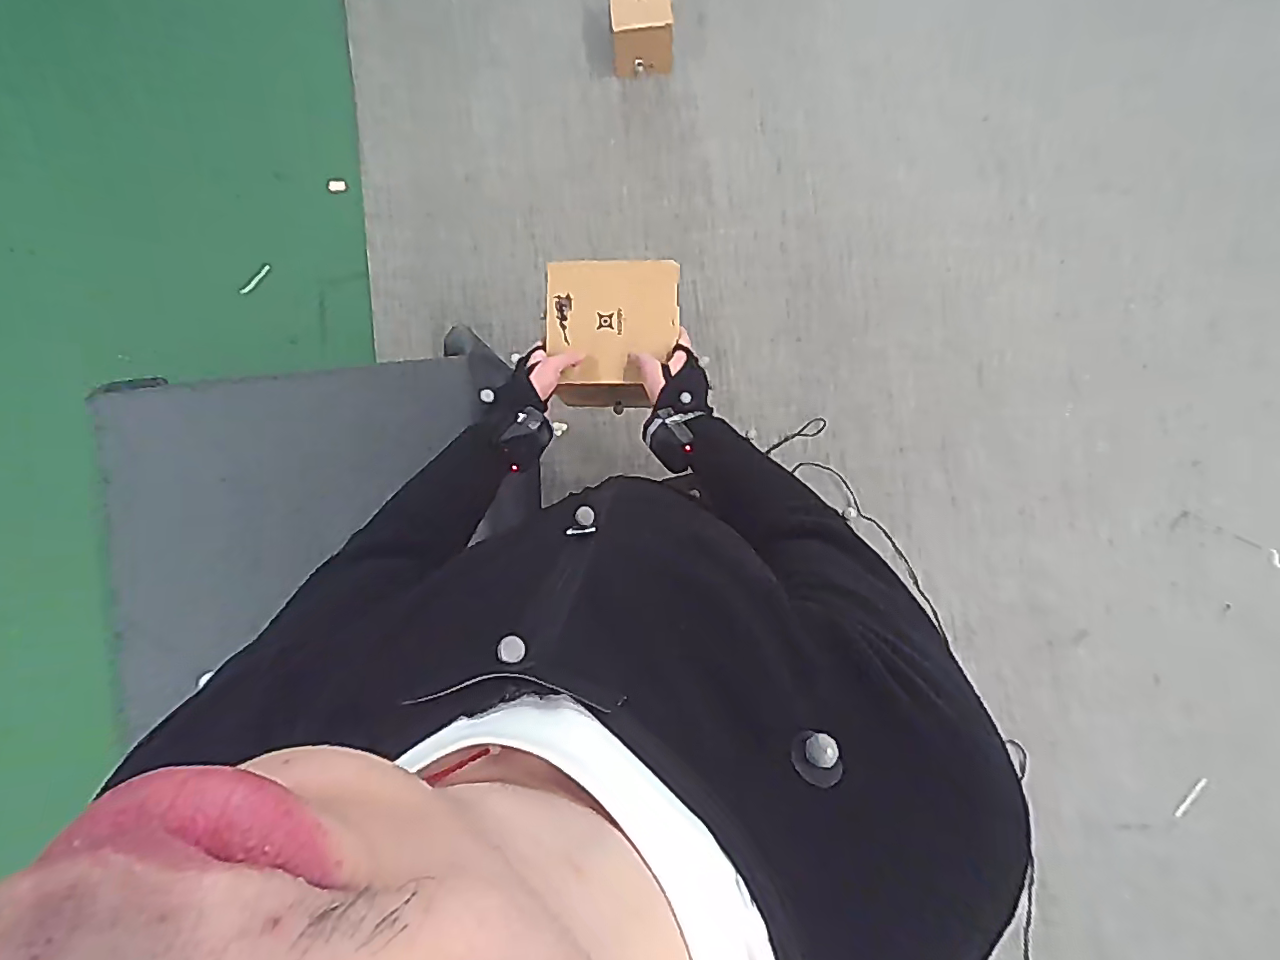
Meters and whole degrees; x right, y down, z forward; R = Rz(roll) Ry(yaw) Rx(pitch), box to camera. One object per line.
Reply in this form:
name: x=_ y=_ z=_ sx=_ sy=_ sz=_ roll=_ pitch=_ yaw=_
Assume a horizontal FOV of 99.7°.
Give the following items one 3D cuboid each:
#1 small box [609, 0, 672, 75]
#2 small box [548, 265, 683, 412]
small box: x=0.000 y=-1.276 z=1.500 sx=0.168 sy=0.176 sz=0.179 roll=-4 pitch=90 yaw=3
small box: x=-0.033 y=-0.197 z=0.792 sx=0.179 sy=0.176 sz=0.168 roll=1 pitch=87 yaw=1
